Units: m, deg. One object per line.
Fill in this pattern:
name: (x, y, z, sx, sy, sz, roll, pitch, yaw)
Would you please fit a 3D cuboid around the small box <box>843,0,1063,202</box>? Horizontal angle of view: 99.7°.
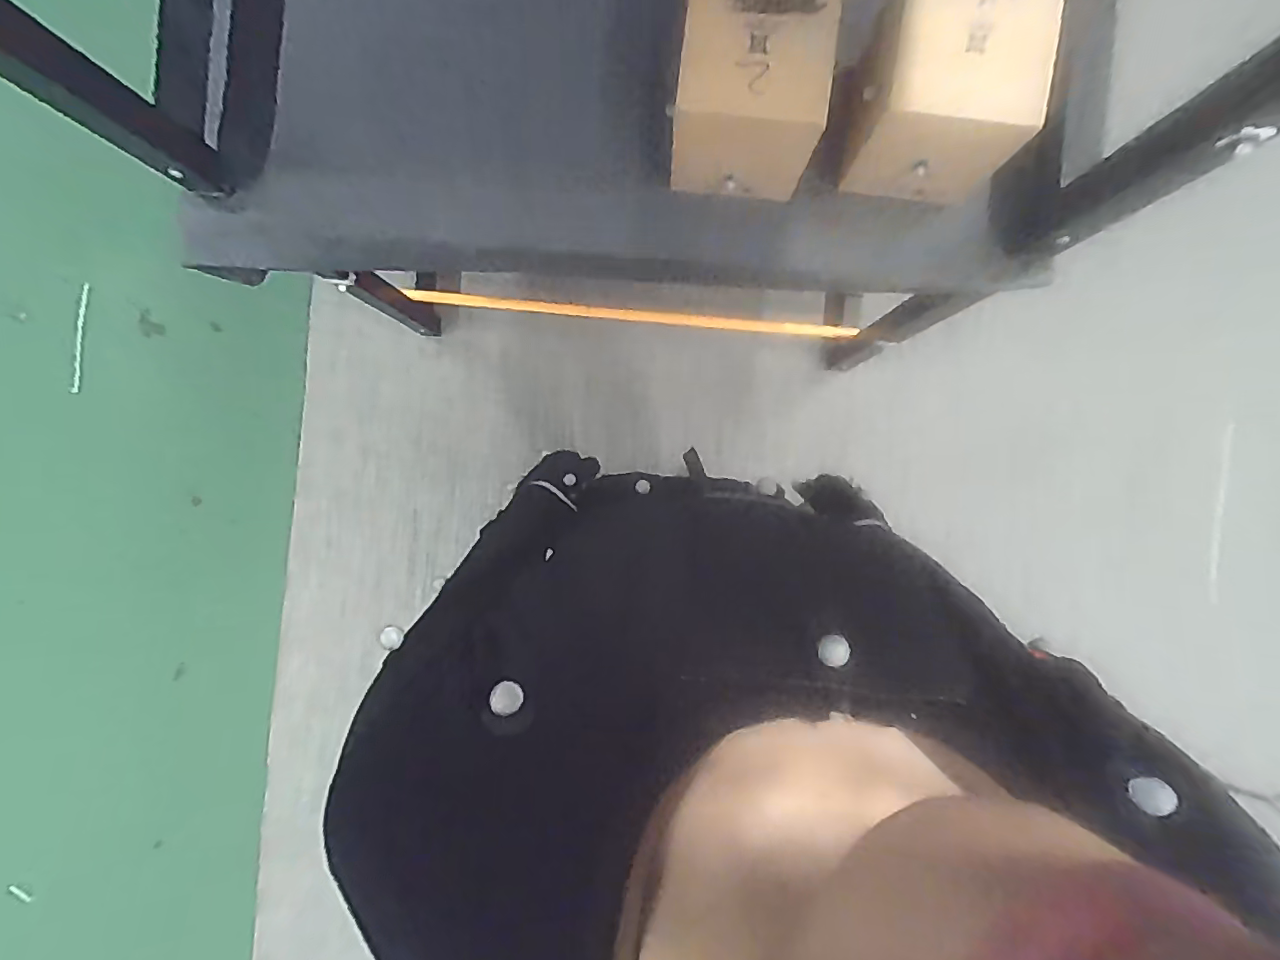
small box: (0.363, -0.469, 0.658, 0.168, 0.176, 0.179, 9, 90, 2)
